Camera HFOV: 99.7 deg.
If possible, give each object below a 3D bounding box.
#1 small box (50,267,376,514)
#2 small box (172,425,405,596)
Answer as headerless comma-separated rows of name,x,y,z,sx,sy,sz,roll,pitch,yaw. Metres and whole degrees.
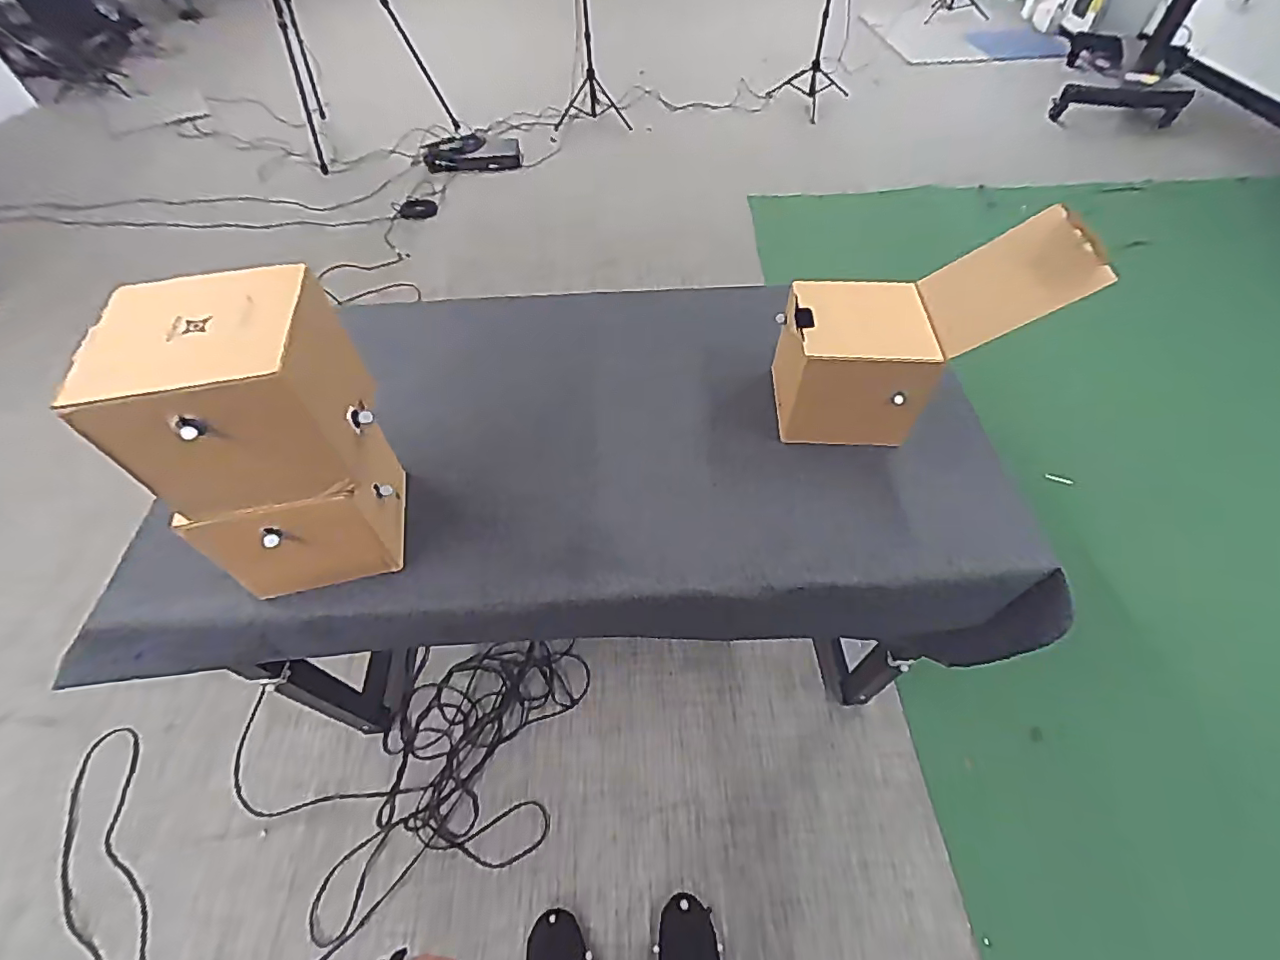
small box,-0.393,-0.084,0.542,0.179,0.176,0.168,-10,54,-8
small box,-0.406,0.021,0.667,0.179,0.176,0.168,-11,53,-7
